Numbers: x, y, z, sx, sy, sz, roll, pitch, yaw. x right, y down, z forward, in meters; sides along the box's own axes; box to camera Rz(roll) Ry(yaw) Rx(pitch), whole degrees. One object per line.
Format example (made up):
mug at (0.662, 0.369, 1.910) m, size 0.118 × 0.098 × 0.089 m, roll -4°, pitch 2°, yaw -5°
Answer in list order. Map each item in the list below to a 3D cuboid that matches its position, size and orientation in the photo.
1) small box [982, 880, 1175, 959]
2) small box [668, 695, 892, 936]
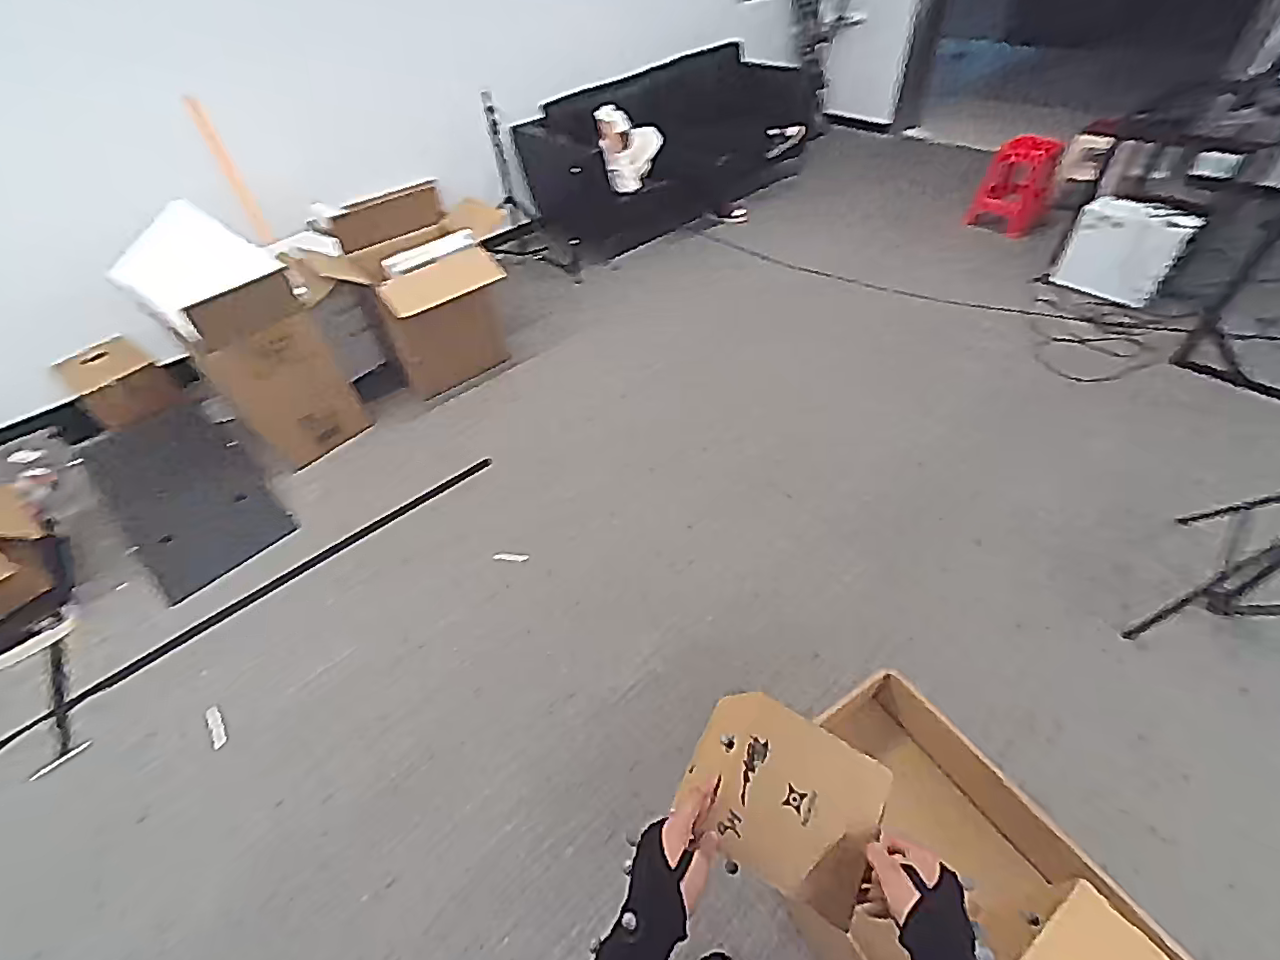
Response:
small box at (0.553, 0.647, 0.666) m, size 0.179 × 0.176 × 0.168 m, roll -28°, pitch 50°, yaw -21°
small box at (0.155, 0.376, 0.642) m, size 0.179 × 0.176 × 0.168 m, roll 29°, pitch 65°, yaw 5°
